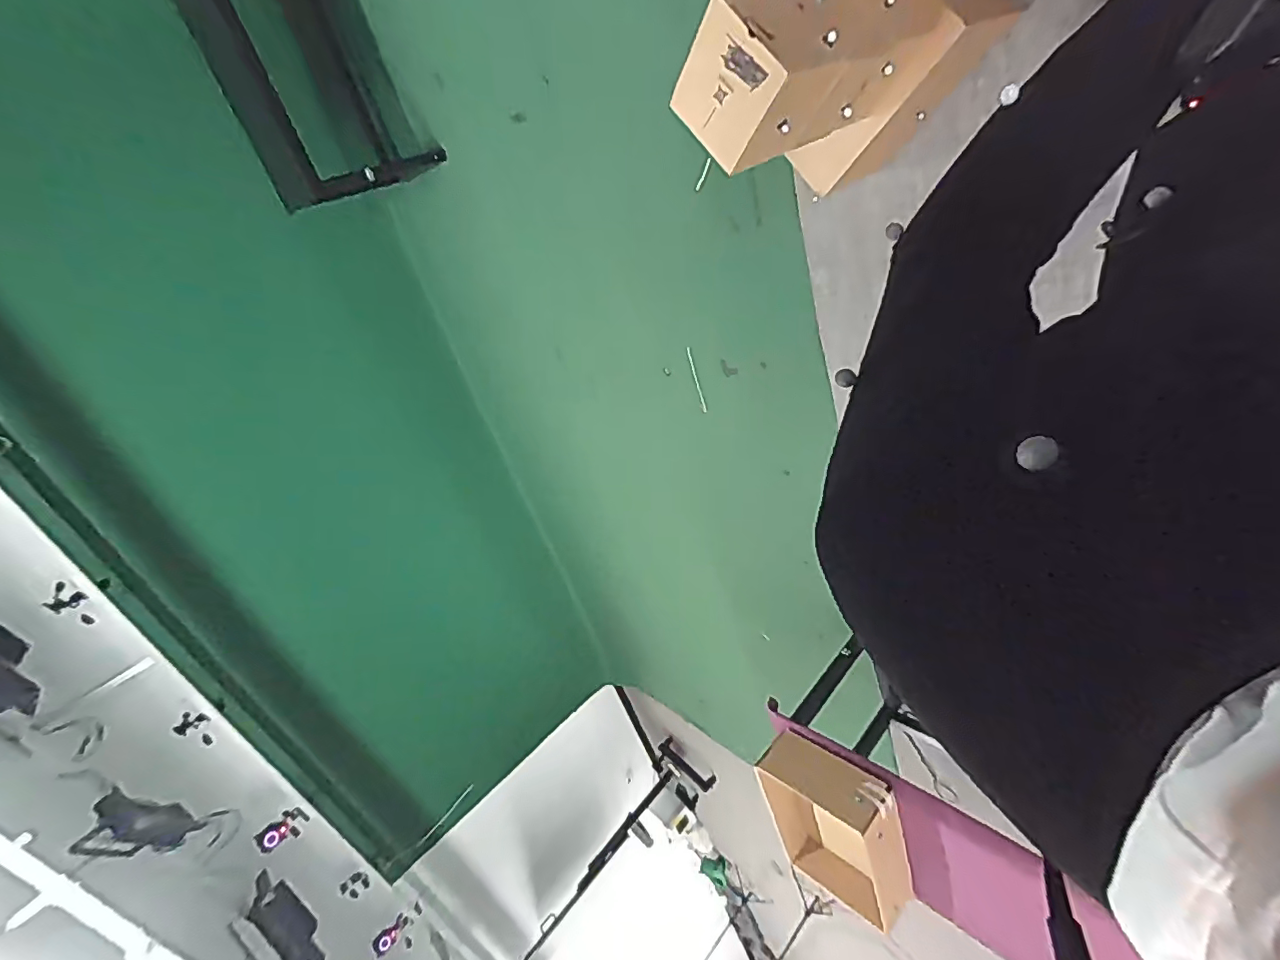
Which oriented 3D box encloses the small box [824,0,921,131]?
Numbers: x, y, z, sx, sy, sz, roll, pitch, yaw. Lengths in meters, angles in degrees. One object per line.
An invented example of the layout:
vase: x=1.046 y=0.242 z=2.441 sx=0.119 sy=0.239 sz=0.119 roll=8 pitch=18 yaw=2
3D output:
small box: x=0.403 y=-0.821 z=1.035 sx=0.168 sy=0.176 sz=0.179 roll=52 pitch=150 yaw=3

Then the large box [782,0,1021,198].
large box: x=0.529 y=-0.947 z=1.223 sx=0.320 sy=0.320 sz=0.408 roll=53 pitch=151 yaw=4

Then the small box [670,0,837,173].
small box: x=0.185 y=-0.645 z=0.868 sx=0.168 sy=0.176 sz=0.179 roll=51 pitch=152 yaw=3

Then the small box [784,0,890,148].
small box: x=0.295 y=-0.732 z=0.953 sx=0.179 sy=0.176 sz=0.168 roll=52 pitch=151 yaw=1
